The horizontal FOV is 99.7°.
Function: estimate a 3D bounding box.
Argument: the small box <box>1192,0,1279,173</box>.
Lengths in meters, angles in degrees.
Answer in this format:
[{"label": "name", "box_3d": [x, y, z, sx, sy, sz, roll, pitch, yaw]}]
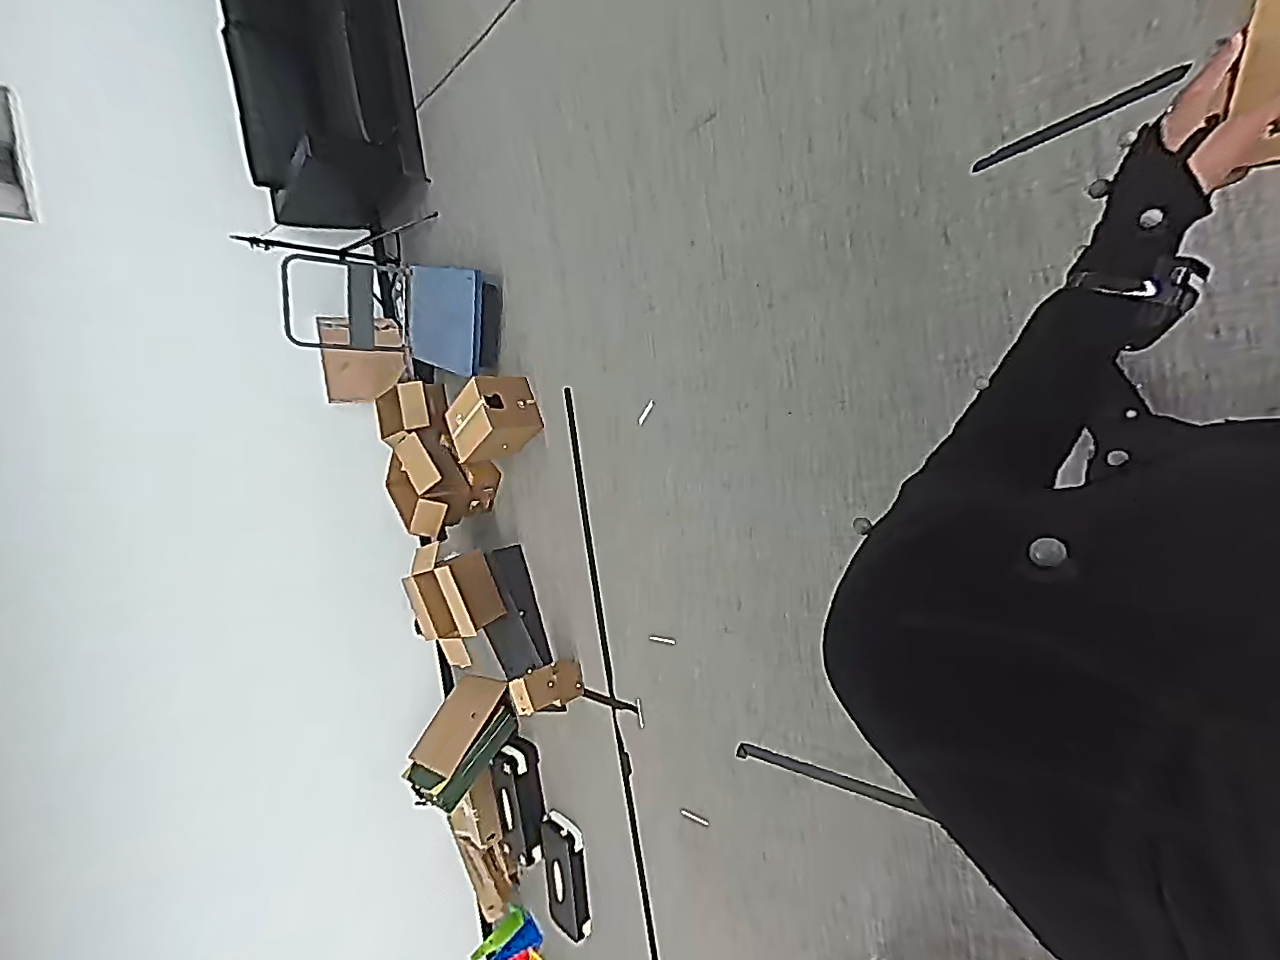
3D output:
[{"label": "small box", "box_3d": [0.564, -0.355, 0.419, 0.168, 0.176, 0.179, 10, 121, 38]}]
